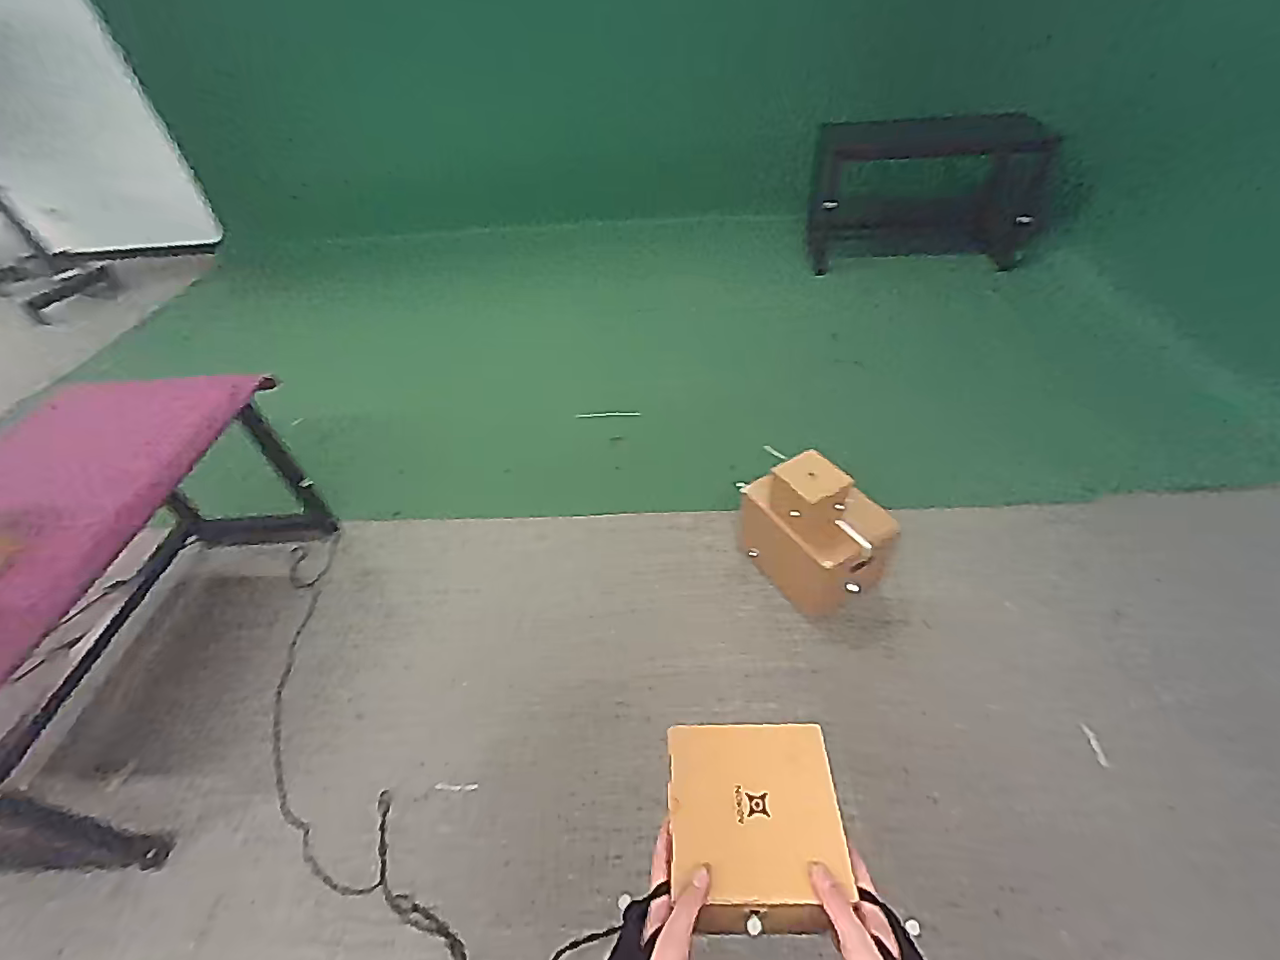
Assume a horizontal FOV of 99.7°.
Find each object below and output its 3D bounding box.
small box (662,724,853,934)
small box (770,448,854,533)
[{"bbox_3d":[0.116,0.393,0.610,0.179,0.176,0.168,-3,43,3],"label":"small box"},{"bbox_3d":[0.518,0.040,1.653,0.168,0.176,0.179,-25,48,-18],"label":"small box"}]
